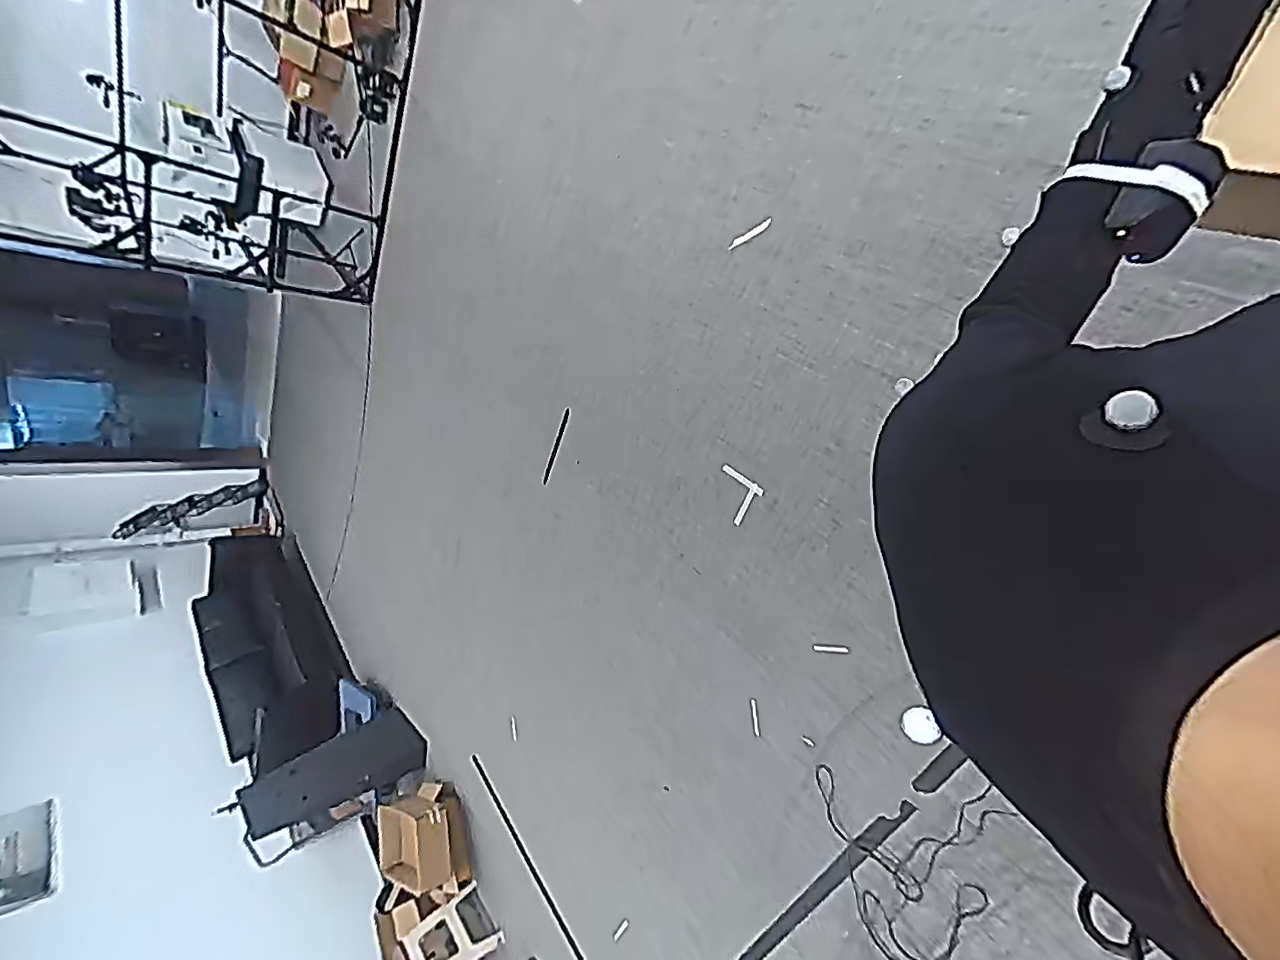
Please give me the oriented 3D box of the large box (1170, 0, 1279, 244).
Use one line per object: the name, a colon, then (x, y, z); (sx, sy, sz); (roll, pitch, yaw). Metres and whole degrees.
large box: (0.669, -0.308, 0.337); (0.408, 0.320, 0.320); (32, 123, 34)
